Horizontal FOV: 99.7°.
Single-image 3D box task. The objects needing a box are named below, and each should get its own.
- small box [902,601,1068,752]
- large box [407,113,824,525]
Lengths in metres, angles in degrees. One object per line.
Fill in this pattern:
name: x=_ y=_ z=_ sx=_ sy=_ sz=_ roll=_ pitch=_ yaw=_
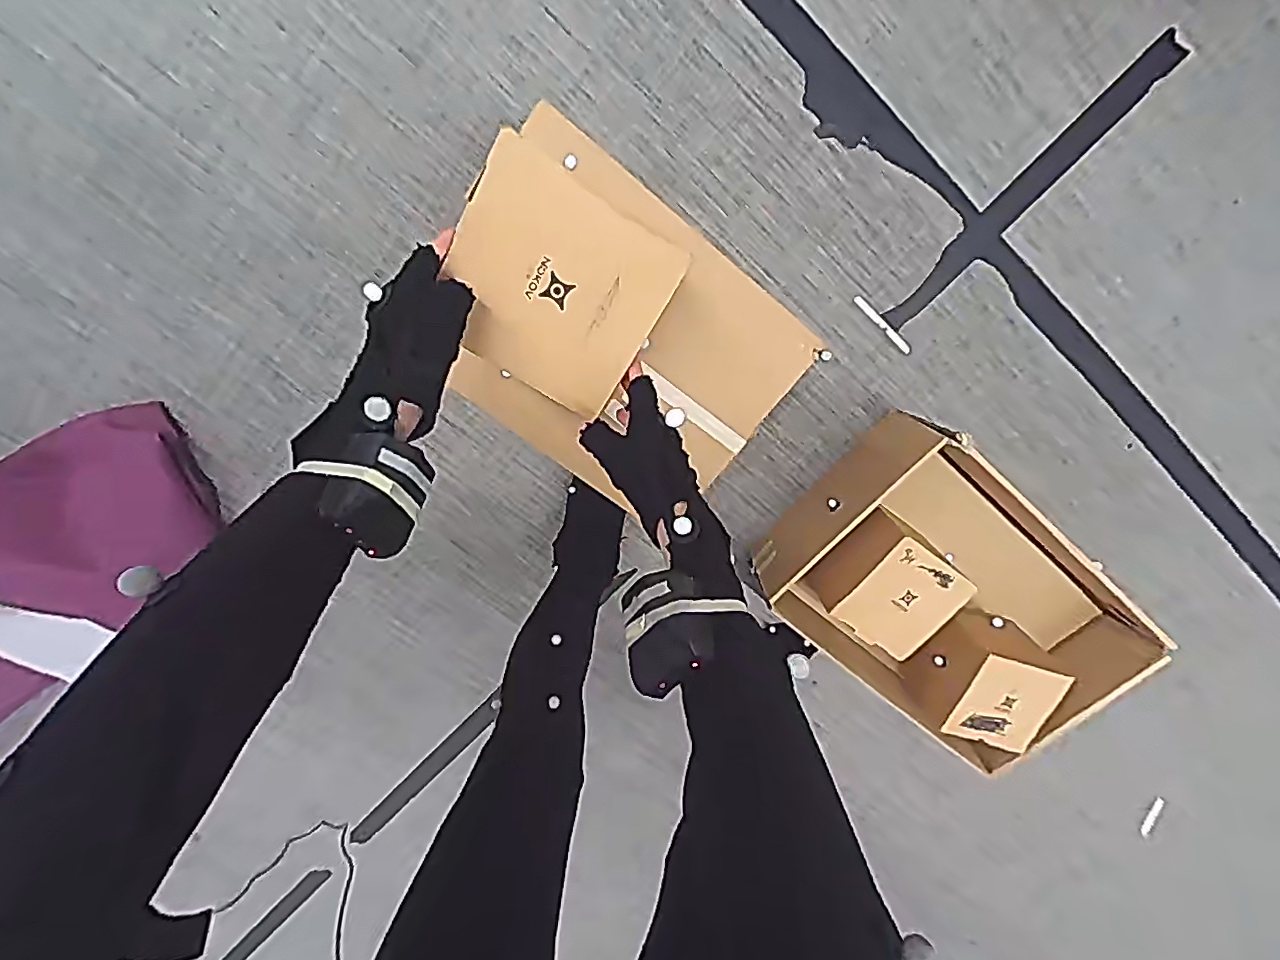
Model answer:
small box: x=0.624 y=0.359 z=1.008 sx=0.168 sy=0.176 sz=0.179 roll=17 pitch=108 yaw=-5
large box: x=-0.033 y=-0.211 z=0.776 sx=0.408 sy=0.320 sz=0.320 roll=35 pitch=107 yaw=-13
